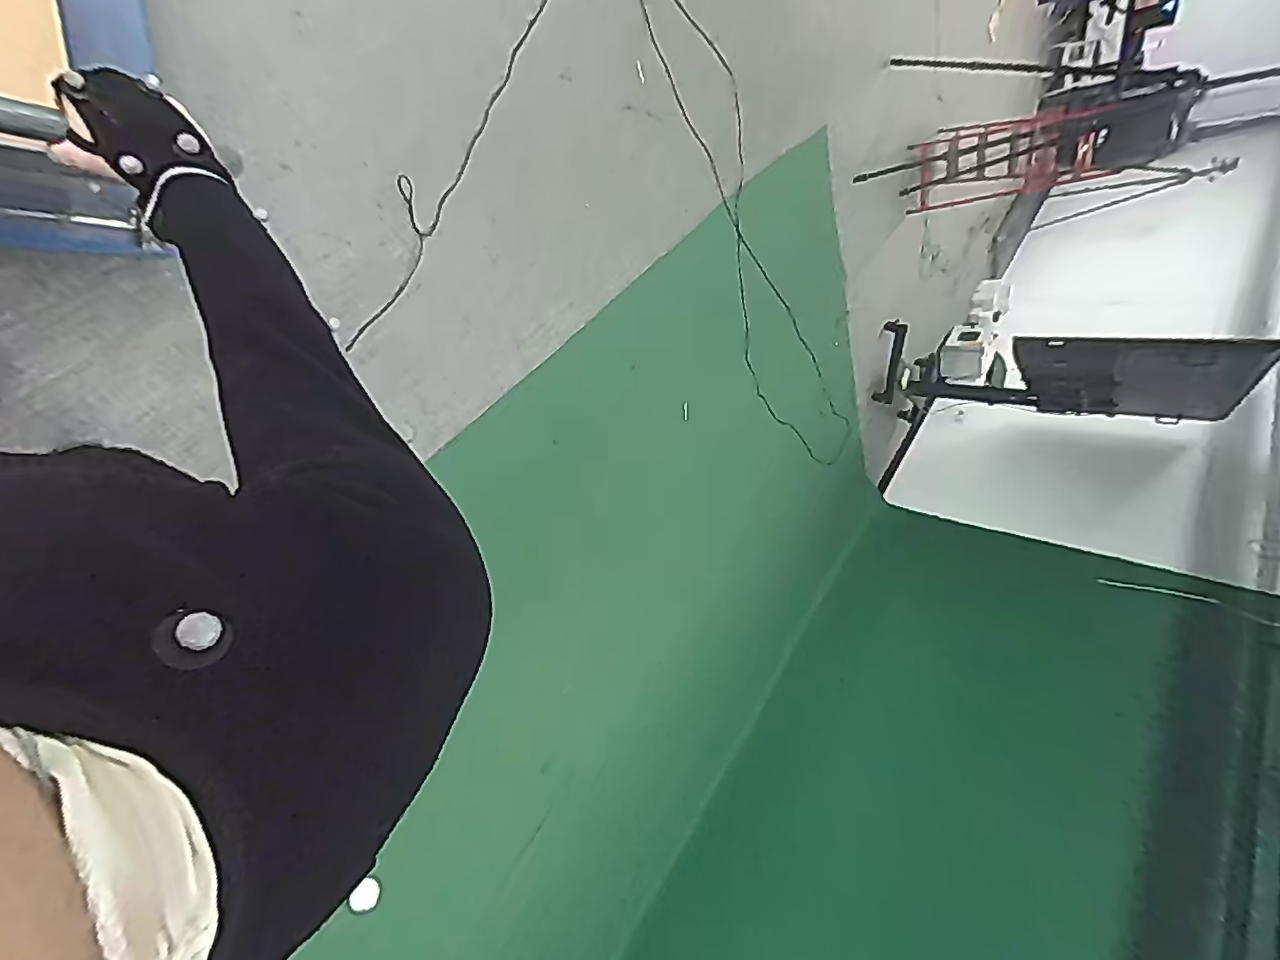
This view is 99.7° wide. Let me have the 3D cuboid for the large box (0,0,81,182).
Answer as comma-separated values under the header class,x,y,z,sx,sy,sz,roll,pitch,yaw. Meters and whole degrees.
class,x,y,z,sx,sy,sz,roll,pitch,yaw
large box,-0.985,-0.654,0.692,0.320,0.320,0.408,-13,111,-46
